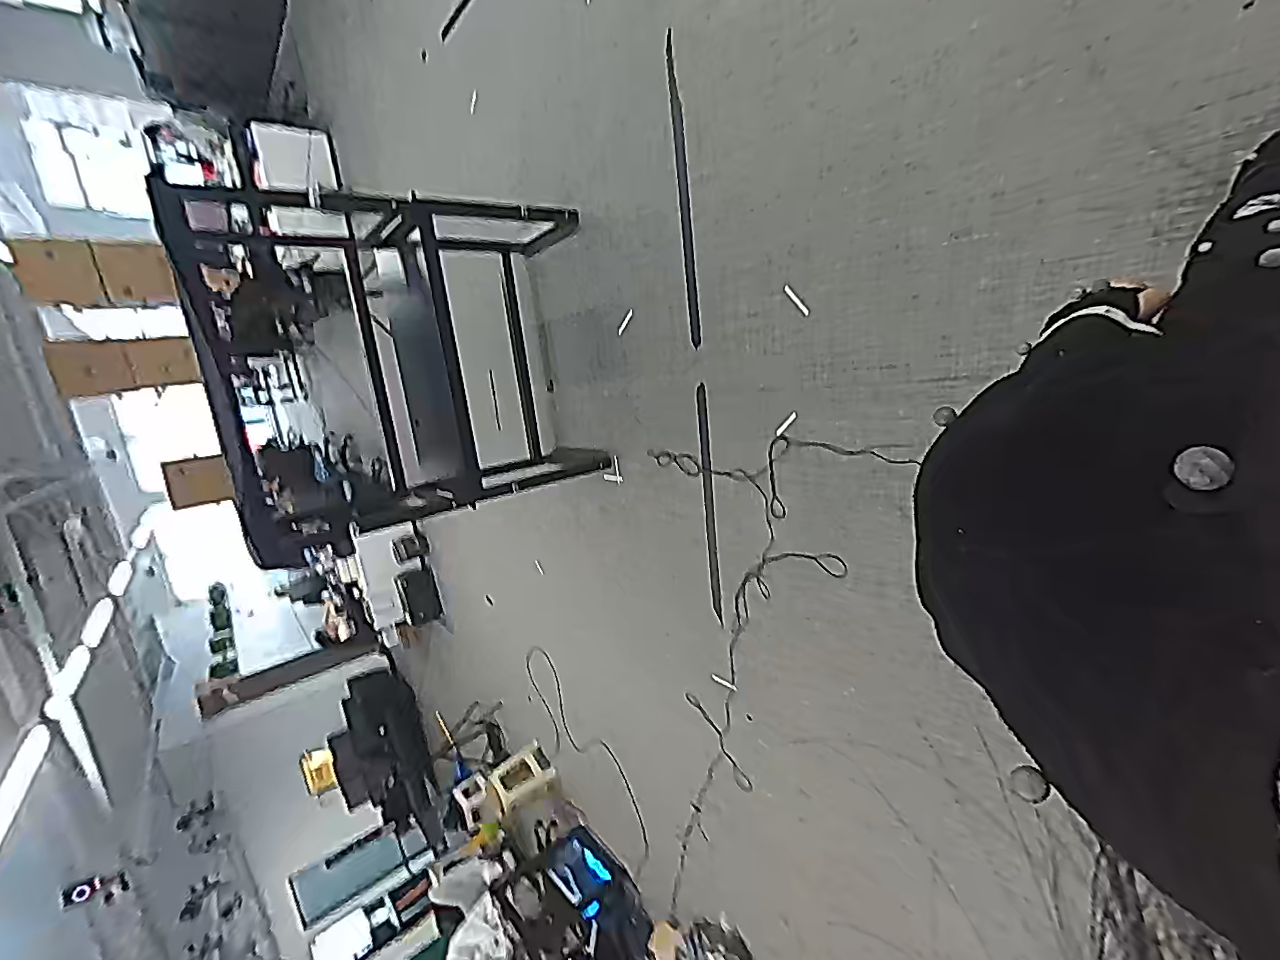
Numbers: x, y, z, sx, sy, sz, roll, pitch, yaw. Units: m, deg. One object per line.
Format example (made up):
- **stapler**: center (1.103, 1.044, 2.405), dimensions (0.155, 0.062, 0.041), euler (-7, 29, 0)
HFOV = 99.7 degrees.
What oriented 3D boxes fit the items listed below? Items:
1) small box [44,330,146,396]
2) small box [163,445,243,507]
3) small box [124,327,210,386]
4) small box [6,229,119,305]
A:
- **small box**: center (-1.615, -0.354, 1.615), dimensions (0.168, 0.176, 0.179), euler (15, 117, 51)
- **small box**: center (-1.435, -0.020, 1.782), dimensions (0.168, 0.176, 0.179), euler (3, 106, 54)
- **small box**: center (-1.492, -0.394, 1.717), dimensions (0.179, 0.176, 0.168), euler (15, 115, 51)
- **small box**: center (-1.636, -0.605, 1.546), dimensions (0.168, 0.176, 0.179), euler (12, 114, 53)
